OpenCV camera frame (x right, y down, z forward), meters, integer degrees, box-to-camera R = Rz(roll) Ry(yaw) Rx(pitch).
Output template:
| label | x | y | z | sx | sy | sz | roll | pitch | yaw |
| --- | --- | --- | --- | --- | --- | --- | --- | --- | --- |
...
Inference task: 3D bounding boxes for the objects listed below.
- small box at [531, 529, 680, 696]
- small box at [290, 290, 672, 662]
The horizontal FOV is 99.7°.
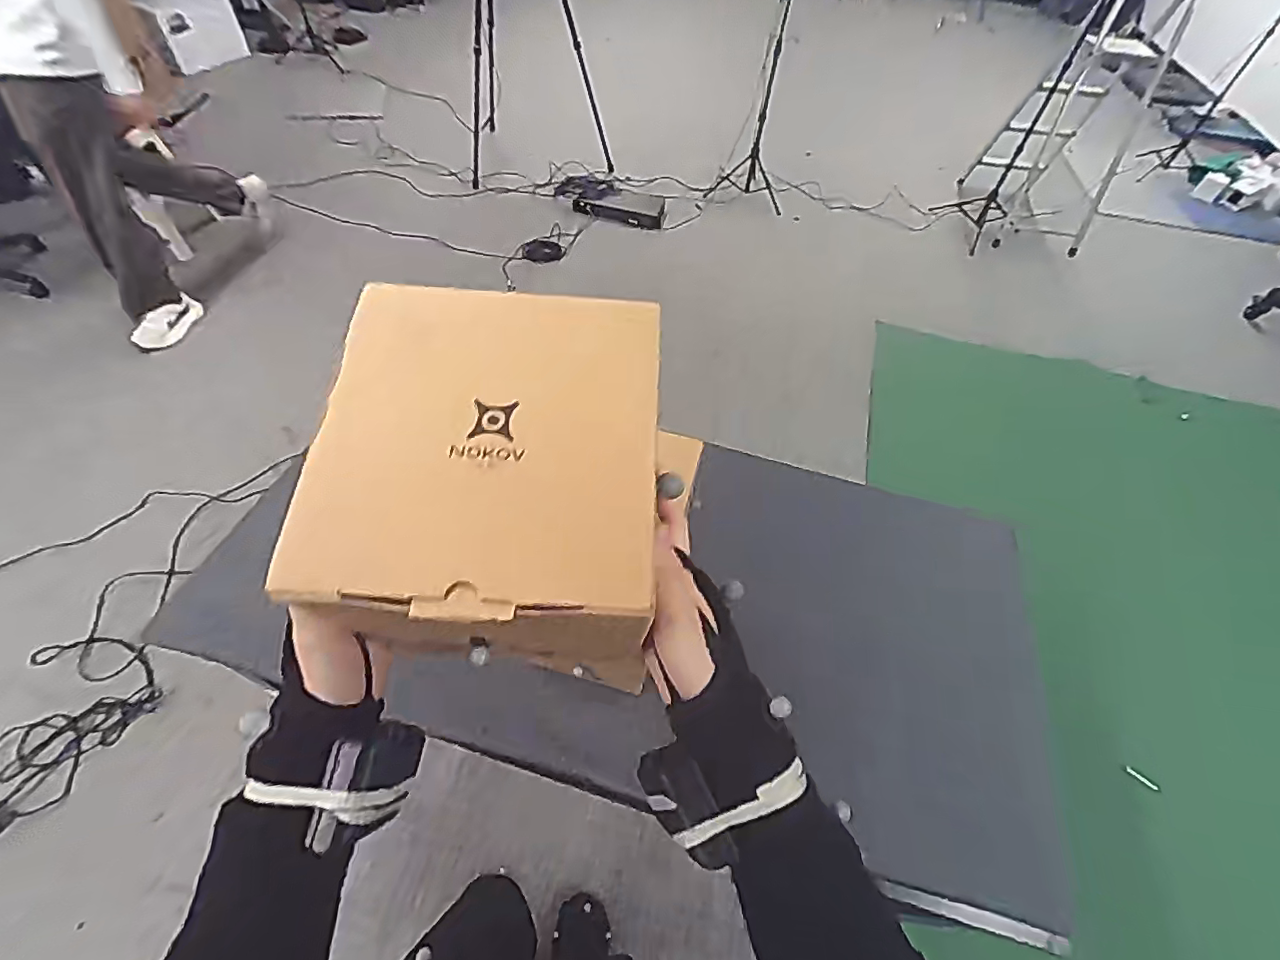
| label | x | y | z | sx | sy | sz | roll | pitch | yaw |
| --- | --- | --- | --- | --- | --- | --- | --- | --- | --- |
| small box | -0.053 | 0.162 | 0.728 | 0.168 | 0.176 | 0.179 | 14 | 52 | 6 |
| small box | -0.073 | 0.011 | 0.343 | 0.168 | 0.176 | 0.179 | 3 | 65 | -3 |
